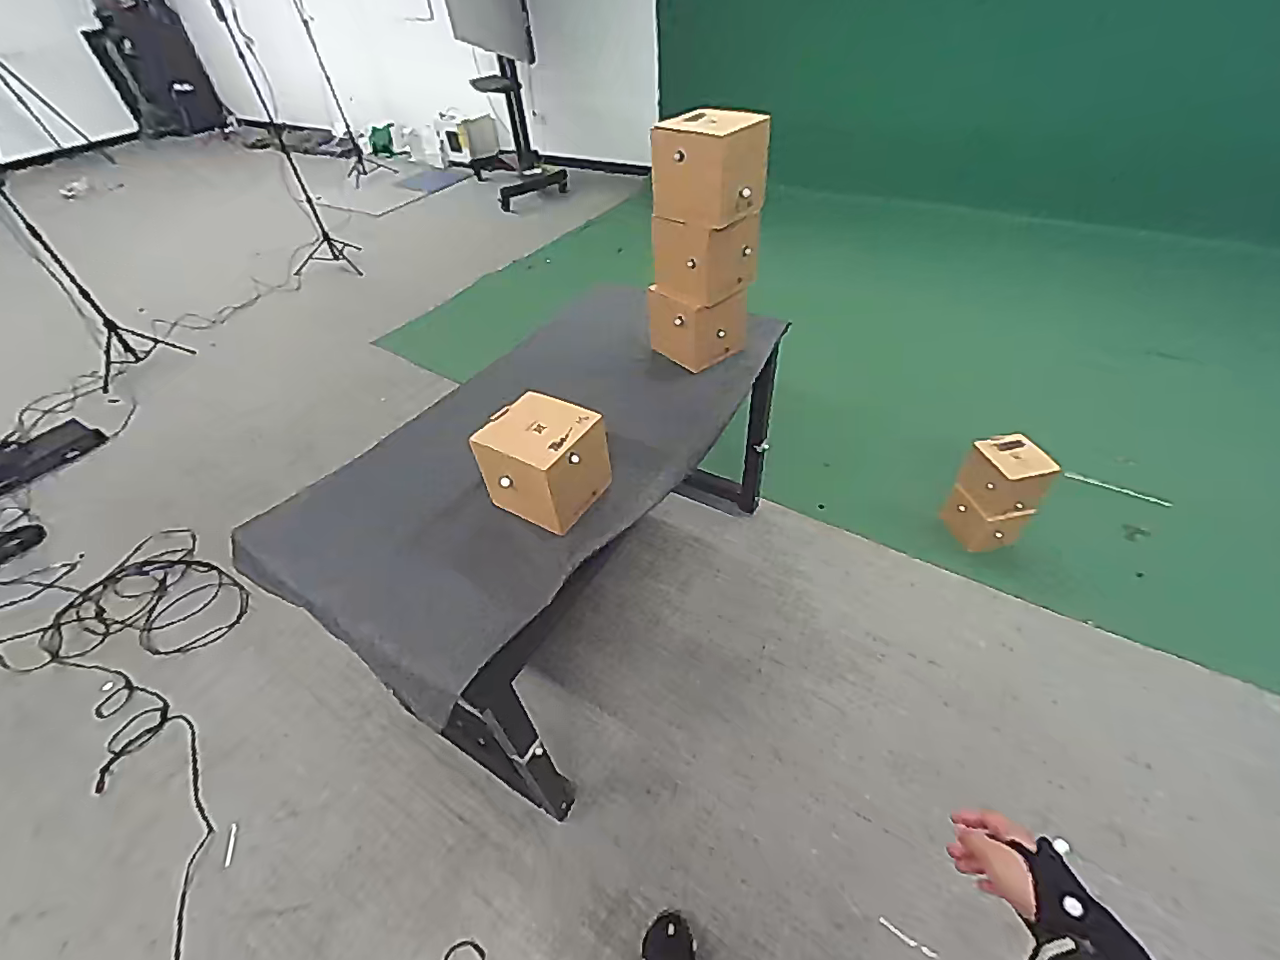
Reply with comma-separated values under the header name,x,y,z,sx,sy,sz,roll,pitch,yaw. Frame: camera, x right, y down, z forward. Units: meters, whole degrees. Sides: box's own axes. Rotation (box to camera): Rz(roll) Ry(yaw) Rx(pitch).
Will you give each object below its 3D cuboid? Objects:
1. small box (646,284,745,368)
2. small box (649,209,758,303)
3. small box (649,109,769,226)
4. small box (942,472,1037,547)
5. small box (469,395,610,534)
name,x,y,z,sx,sy,sz,roll,pitch,yaw
small box,0.137,-0.394,1.323,0.168,0.176,0.179,-31,48,-23
small box,0.142,-0.518,1.215,0.168,0.176,0.179,-35,49,-27
small box,0.138,-0.637,1.102,0.179,0.176,0.168,29,54,31
small box,1.135,0.103,1.771,0.168,0.176,0.179,-11,45,-5
small box,-0.175,-0.027,0.995,0.179,0.176,0.168,21,50,26
